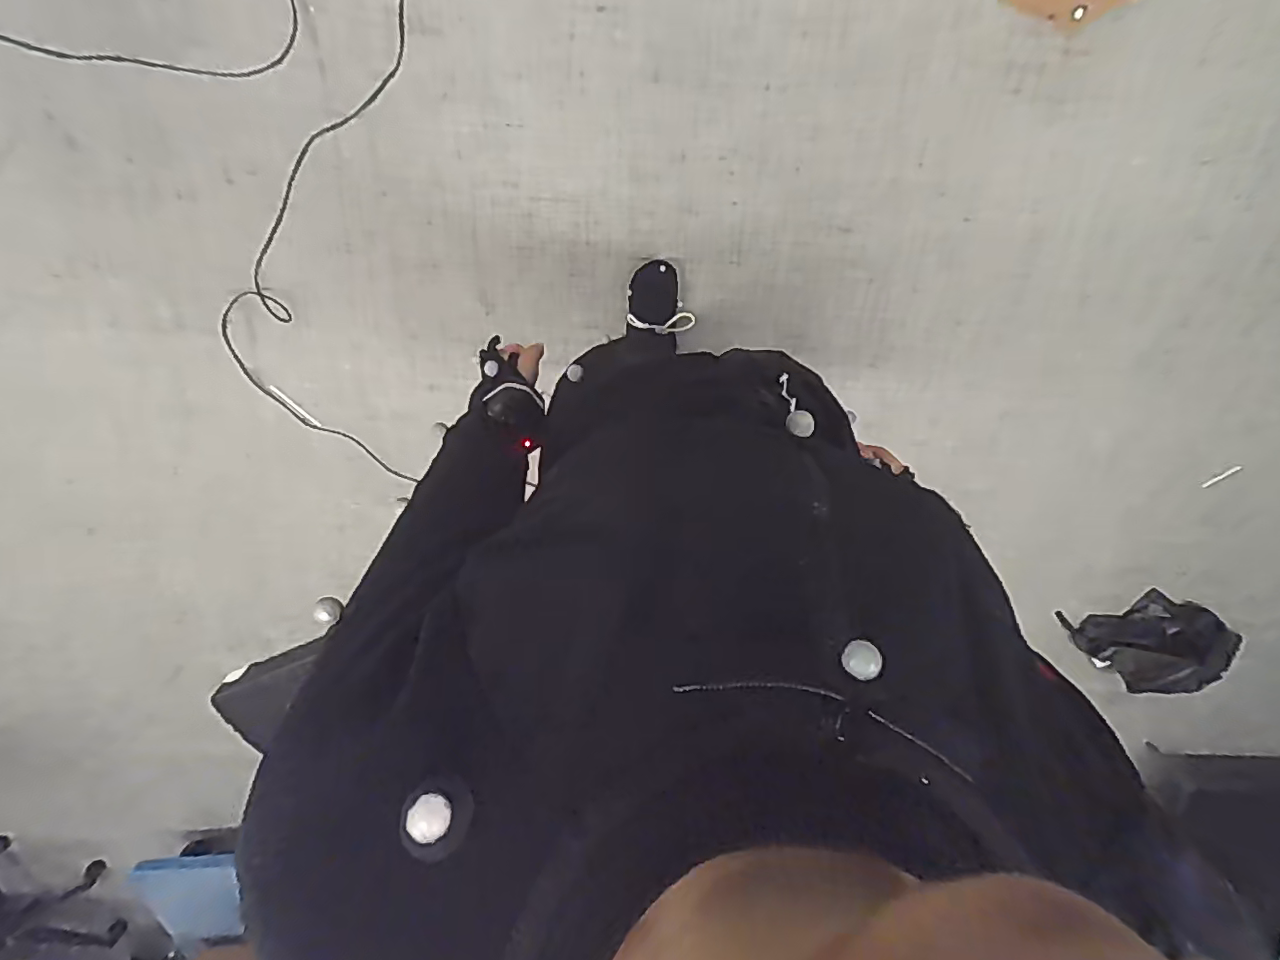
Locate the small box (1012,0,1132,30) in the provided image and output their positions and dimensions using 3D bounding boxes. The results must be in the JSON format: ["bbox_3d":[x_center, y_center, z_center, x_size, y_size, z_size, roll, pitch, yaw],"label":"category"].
[{"bbox_3d":[0.788,-0.939,0.942,0.168,0.176,0.179,18,111,-9],"label":"small box"}]
